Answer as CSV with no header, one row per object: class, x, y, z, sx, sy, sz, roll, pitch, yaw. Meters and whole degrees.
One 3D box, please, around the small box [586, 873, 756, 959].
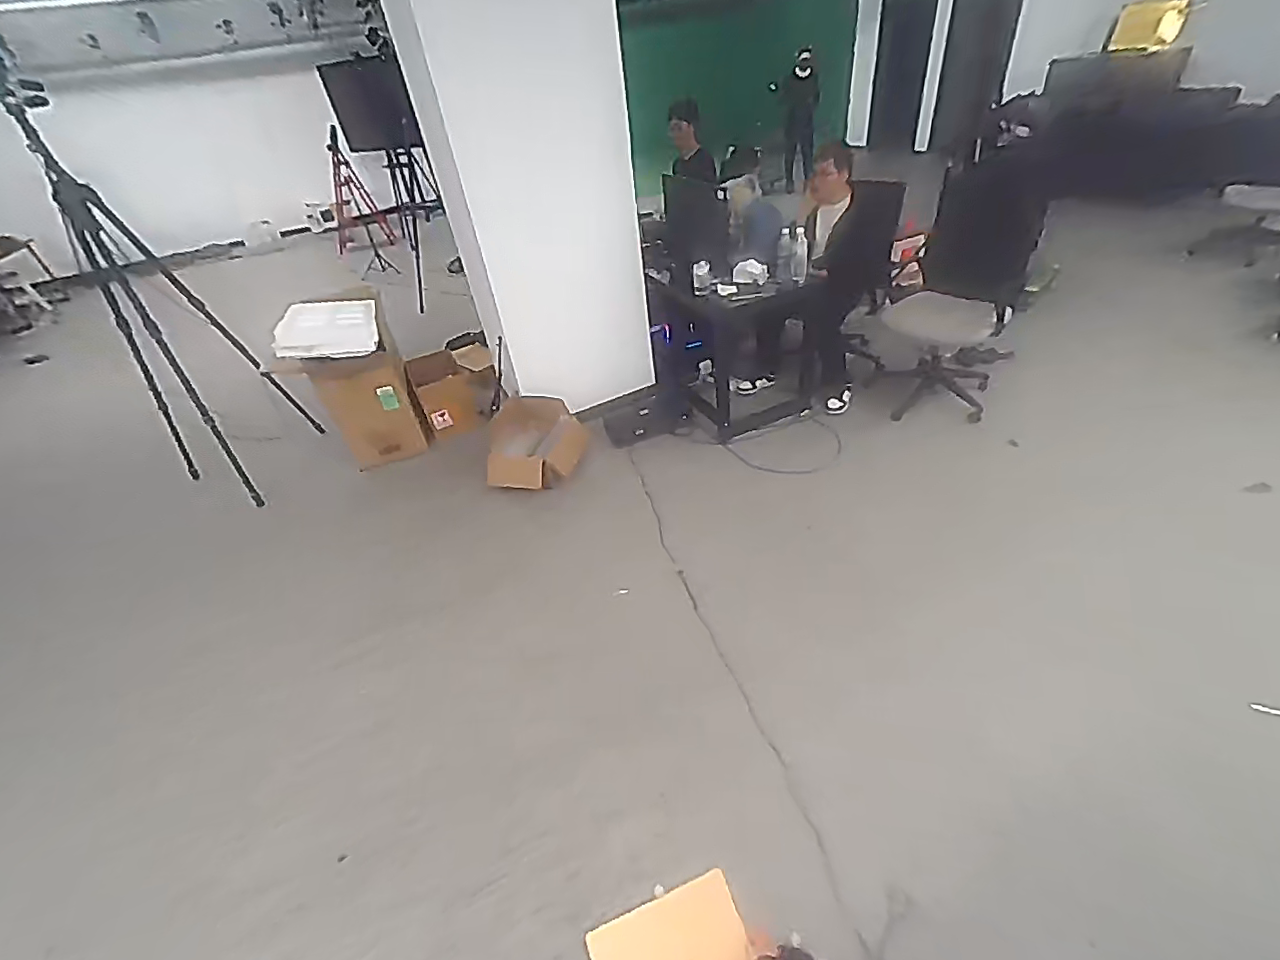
small box,0.054,0.606,0.630,0.179,0.176,0.168,-19,44,-12
